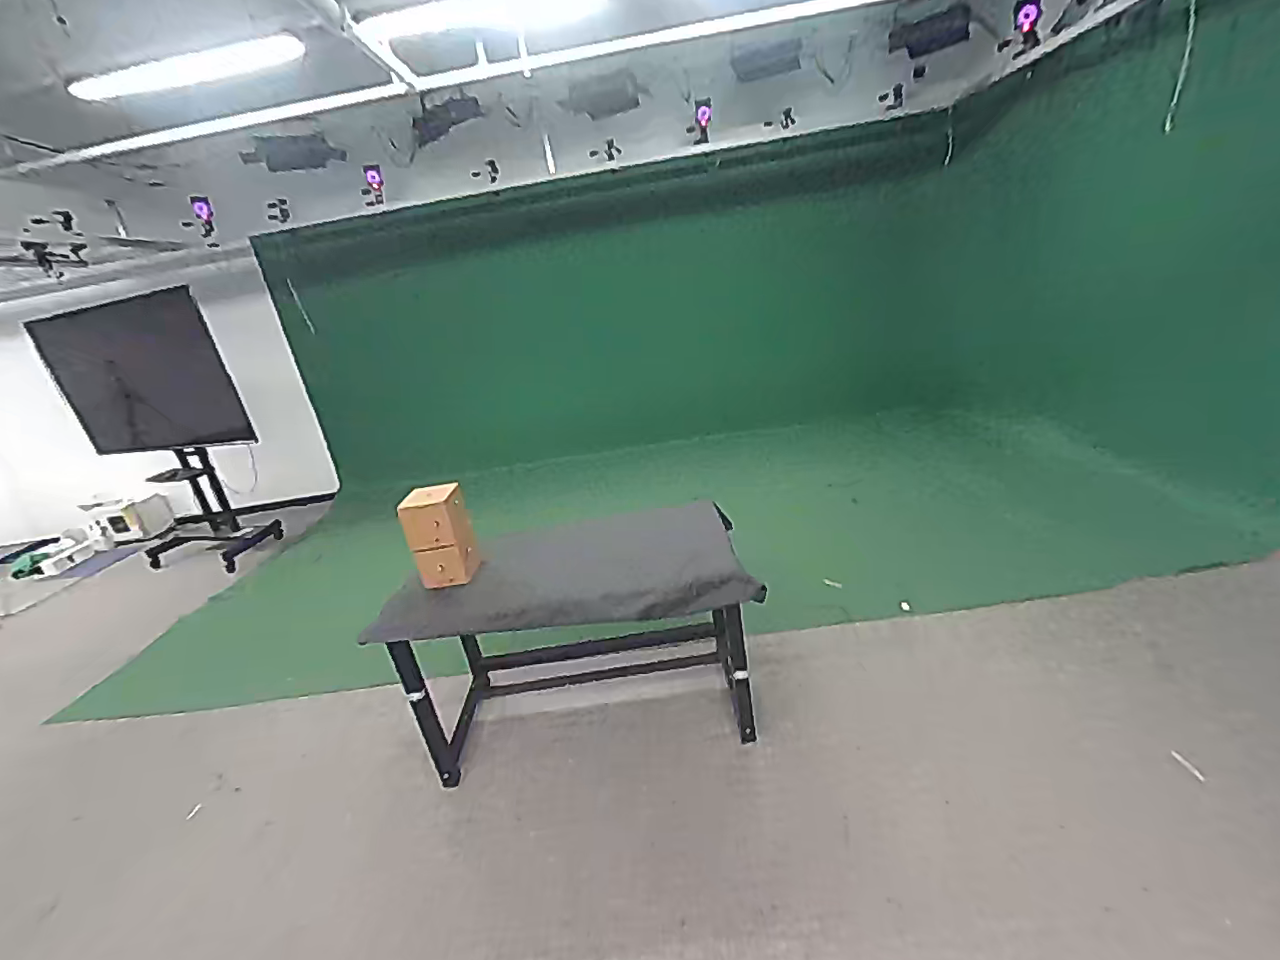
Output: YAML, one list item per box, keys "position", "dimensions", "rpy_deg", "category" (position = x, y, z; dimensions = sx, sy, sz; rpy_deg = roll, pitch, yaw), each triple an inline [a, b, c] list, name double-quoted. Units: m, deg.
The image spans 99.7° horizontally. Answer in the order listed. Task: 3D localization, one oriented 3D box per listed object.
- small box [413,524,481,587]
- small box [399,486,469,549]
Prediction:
- position: [-0.704, 0.284, 1.998]
  dimensions: [0.168, 0.176, 0.179]
  rpy_deg: [-7, 20, 3]
  category: "small box"
- position: [-0.728, 0.137, 1.930]
  dimensions: [0.168, 0.176, 0.179]
  rpy_deg: [-8, 19, 1]
  category: "small box"
